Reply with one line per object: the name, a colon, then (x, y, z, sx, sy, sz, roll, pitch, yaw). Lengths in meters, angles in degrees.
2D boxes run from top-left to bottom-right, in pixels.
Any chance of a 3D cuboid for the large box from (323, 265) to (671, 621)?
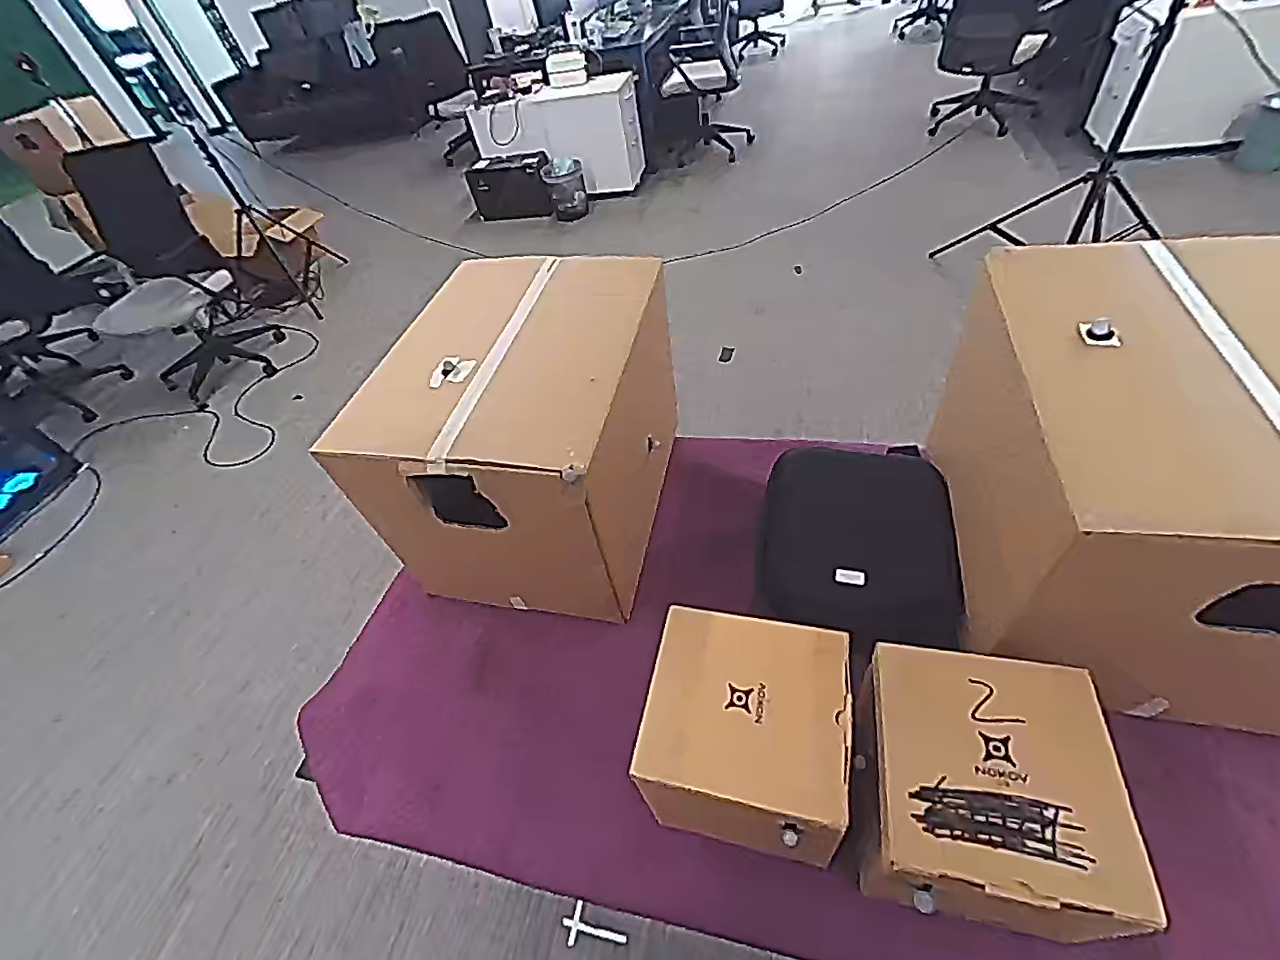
large box: (-0.140, -0.061, 0.780, 0.320, 0.320, 0.408, 4, 51, 13)
